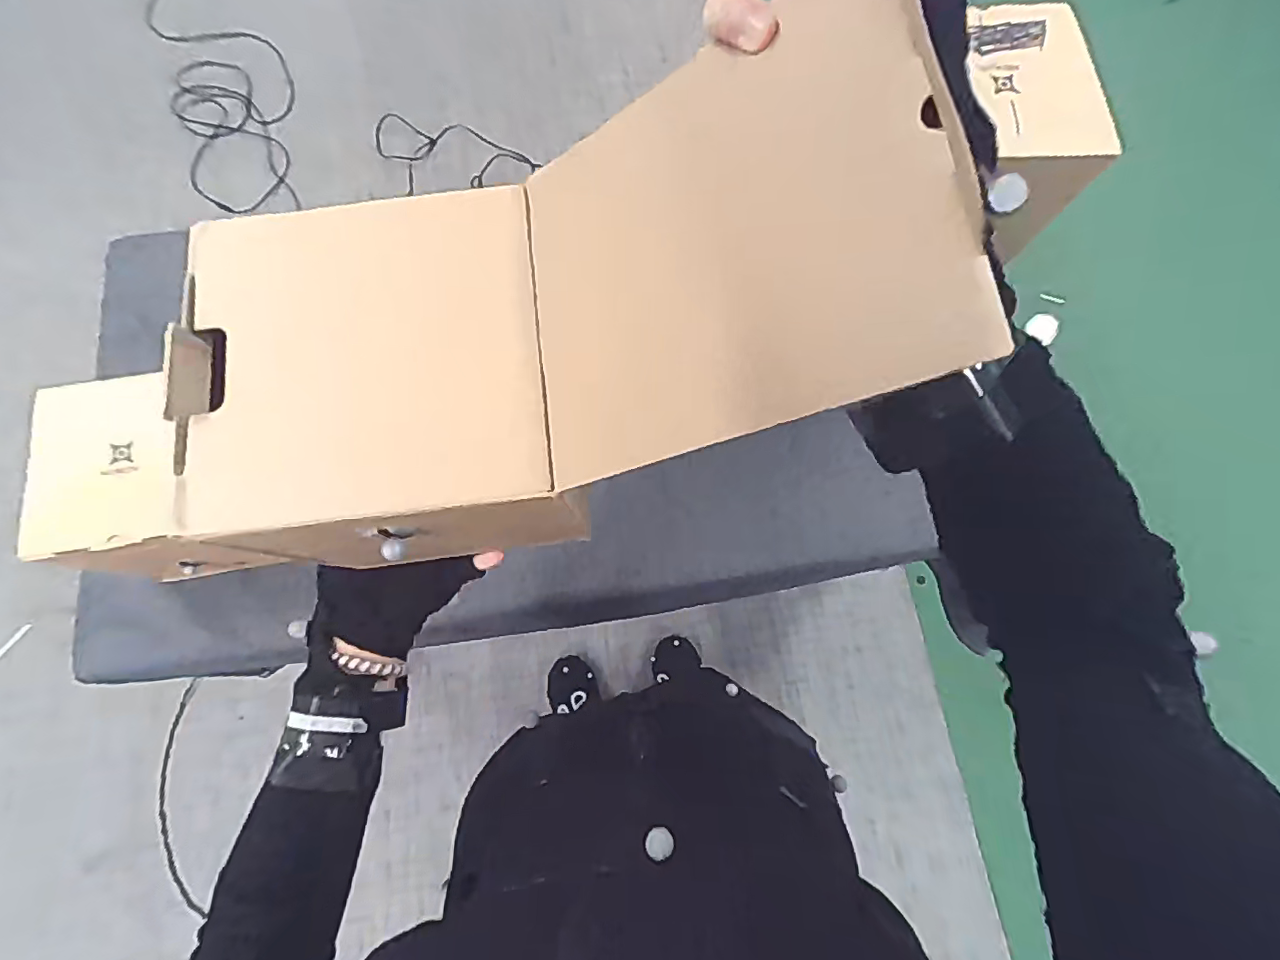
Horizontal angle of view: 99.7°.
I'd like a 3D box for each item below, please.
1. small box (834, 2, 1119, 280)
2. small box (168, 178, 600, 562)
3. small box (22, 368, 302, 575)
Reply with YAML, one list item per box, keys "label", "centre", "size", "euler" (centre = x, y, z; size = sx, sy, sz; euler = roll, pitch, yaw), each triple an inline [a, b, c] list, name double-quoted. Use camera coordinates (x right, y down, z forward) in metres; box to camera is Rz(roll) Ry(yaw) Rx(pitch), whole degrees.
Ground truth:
- label: "small box"
  centre: [0.311, -0.328, 0.545]
  size: [0.168, 0.176, 0.179]
  euler: [-2, 75, -2]
- label: "small box"
  centre: [-0.127, -0.045, 0.333]
  size: [0.179, 0.176, 0.168]
  euler: [-7, 77, 1]
- label: "small box"
  centre: [-0.497, -0.002, 0.596]
  size: [0.168, 0.176, 0.179]
  euler: [-10, 75, -5]
